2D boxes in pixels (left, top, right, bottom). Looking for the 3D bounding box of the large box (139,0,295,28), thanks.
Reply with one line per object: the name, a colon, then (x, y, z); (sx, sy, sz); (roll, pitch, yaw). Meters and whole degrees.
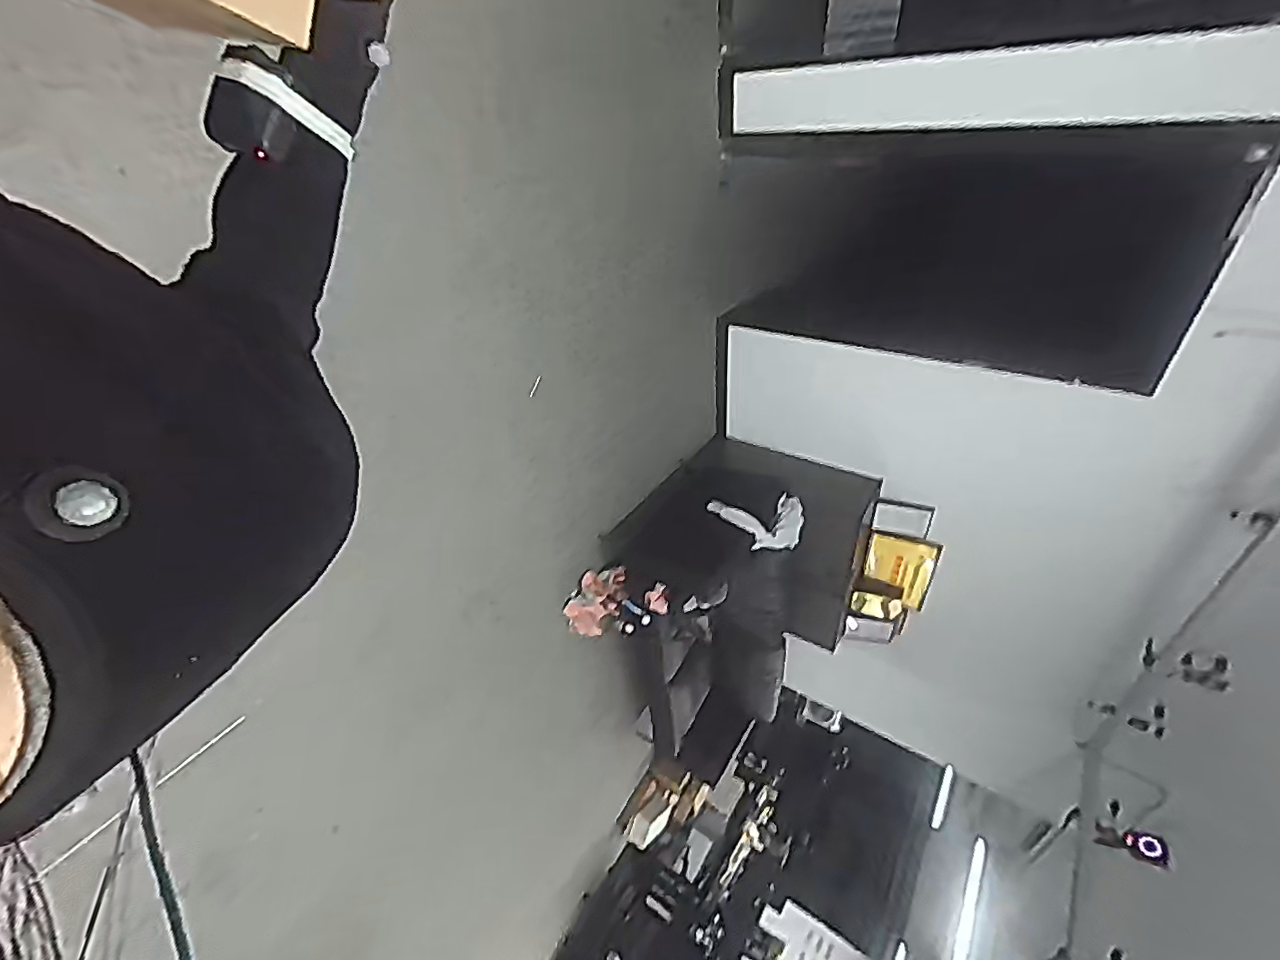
large box: (-0.424, -0.498, 0.244); (0.408, 0.320, 0.320); (-10, 125, -54)
